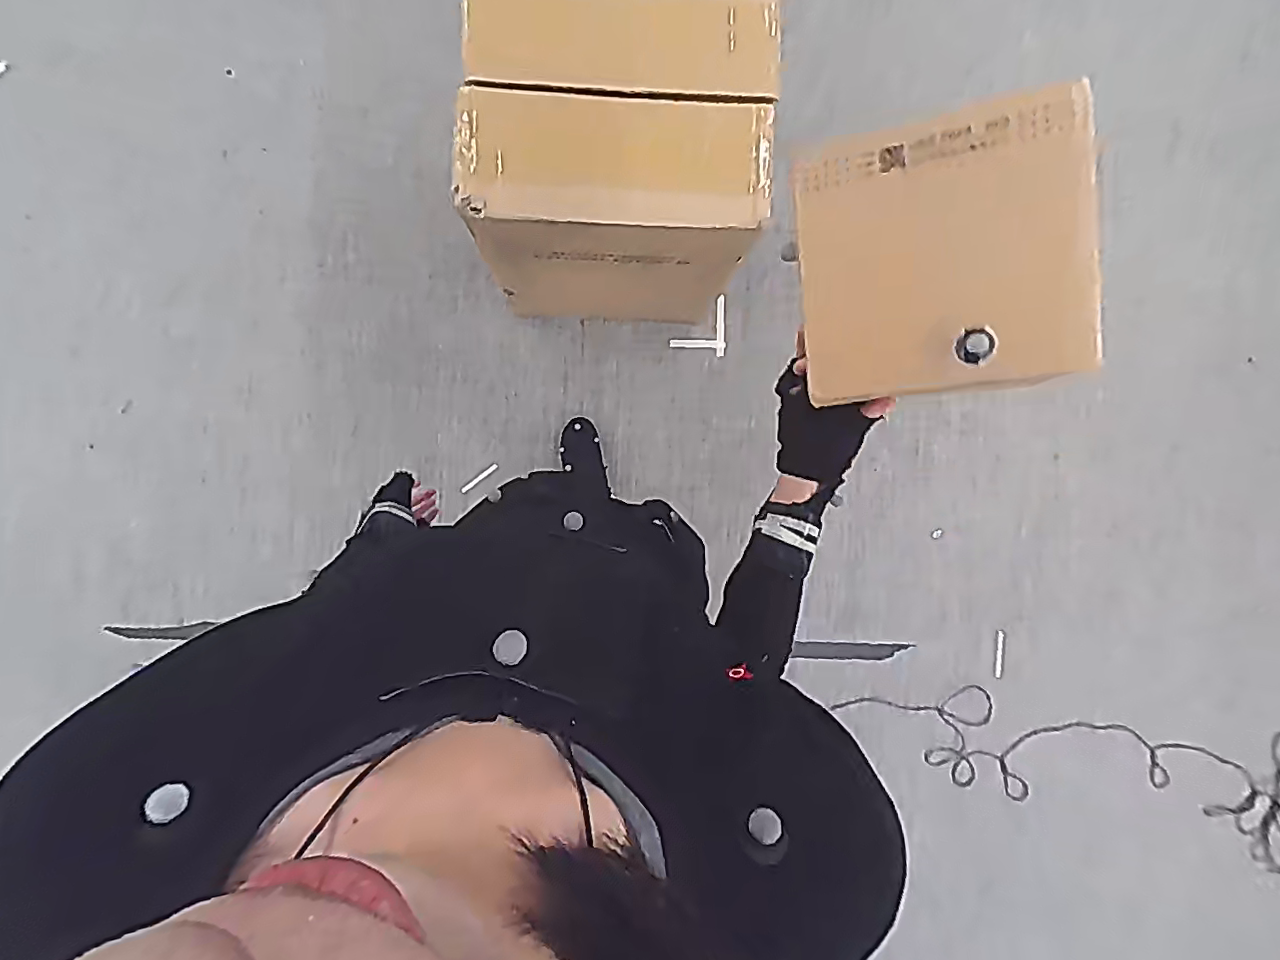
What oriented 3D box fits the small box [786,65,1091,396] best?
[{"bbox_3d":[0.208,-0.160,0.411,0.168,0.179,0.176,-5,94,21],"label":"small box"}]
